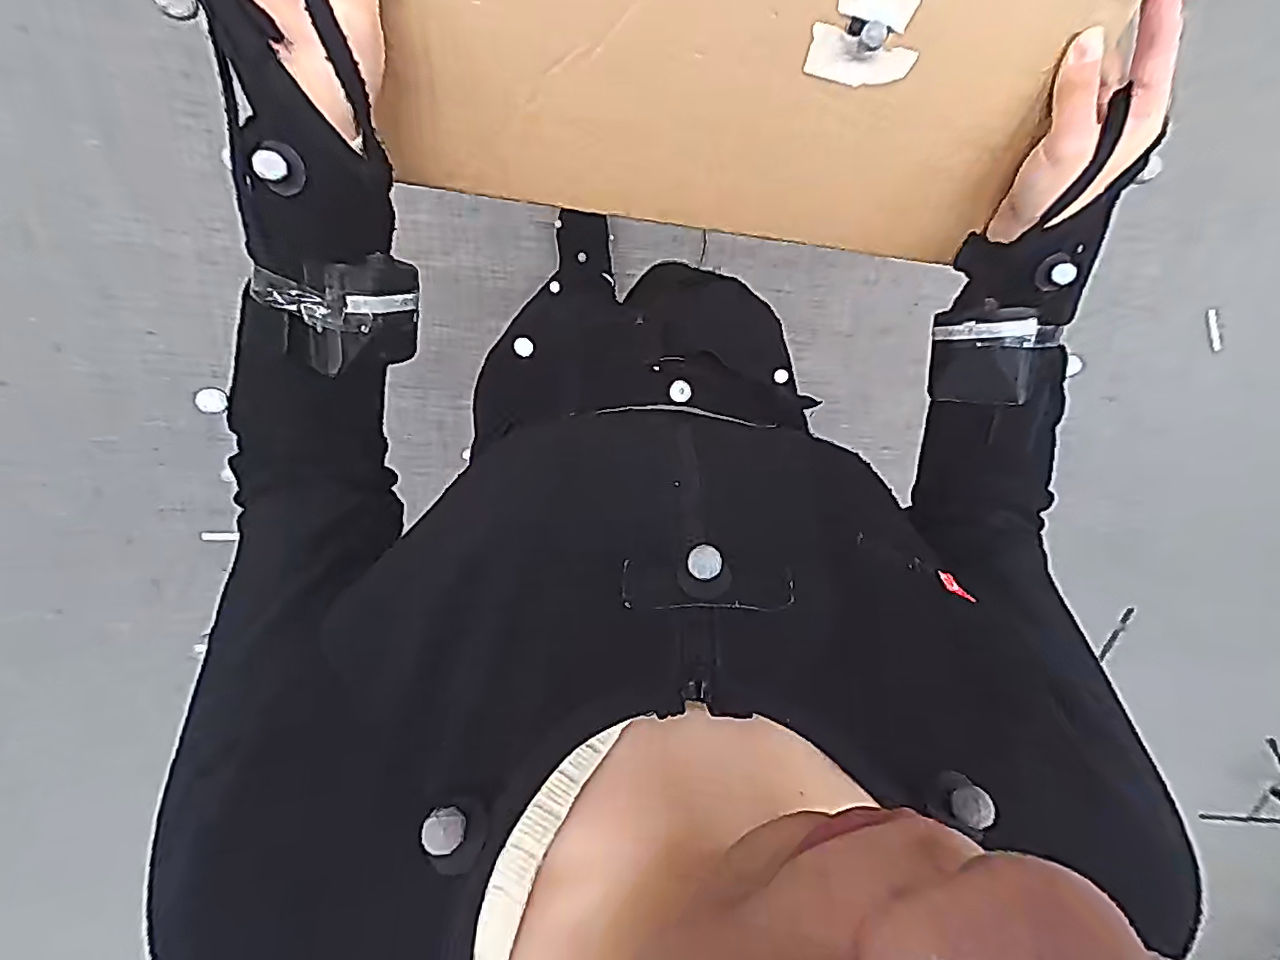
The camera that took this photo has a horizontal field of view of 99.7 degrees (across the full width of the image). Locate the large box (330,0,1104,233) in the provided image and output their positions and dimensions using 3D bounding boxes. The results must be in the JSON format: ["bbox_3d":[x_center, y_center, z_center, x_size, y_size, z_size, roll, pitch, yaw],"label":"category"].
[{"bbox_3d":[0.042,-0.393,0.334,0.408,0.320,0.320,3,139,-11],"label":"large box"}]
